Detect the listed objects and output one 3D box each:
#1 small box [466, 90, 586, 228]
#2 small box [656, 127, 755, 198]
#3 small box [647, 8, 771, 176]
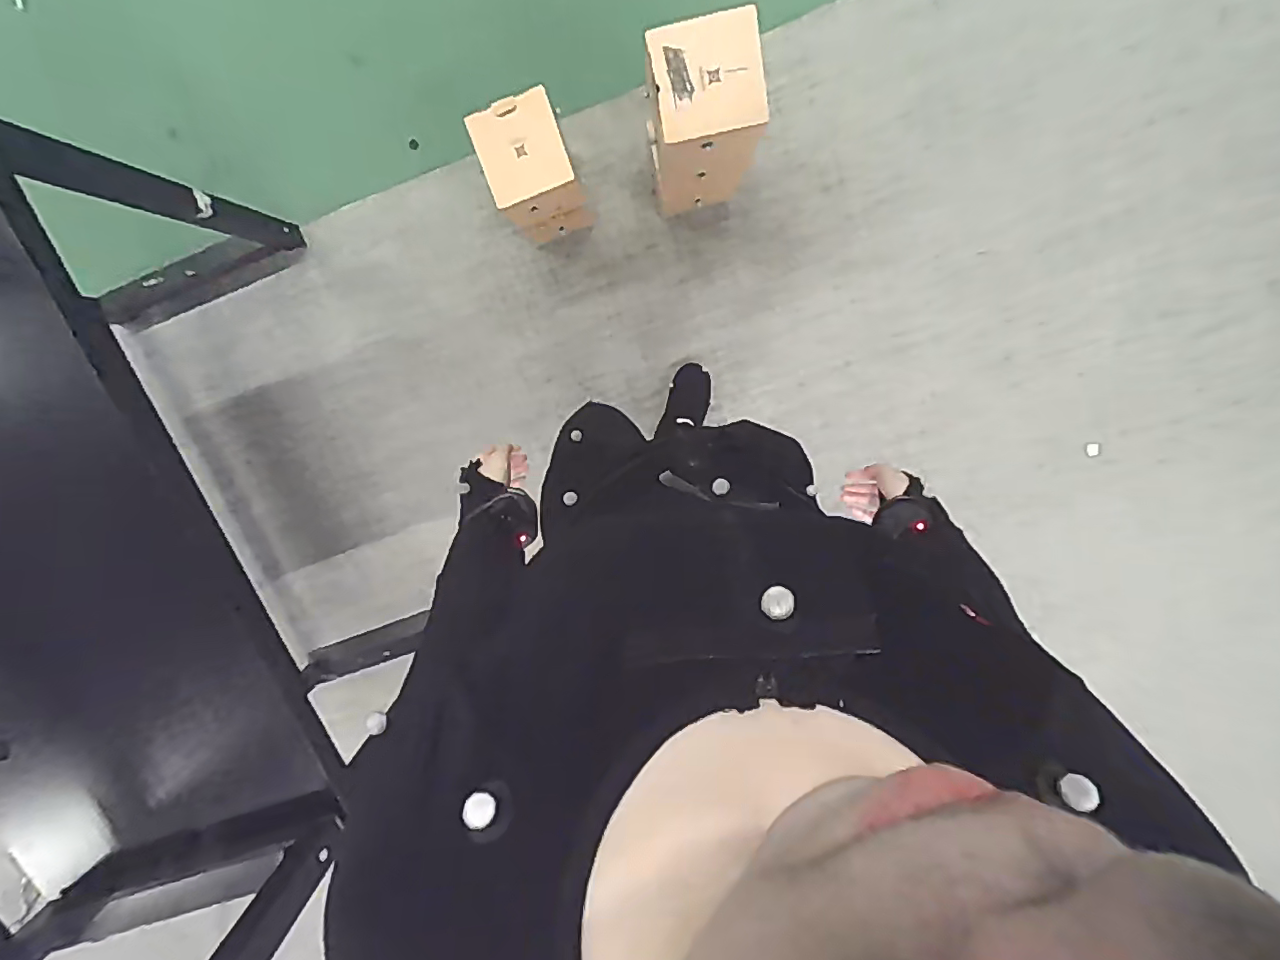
[{"bbox_3d":[-0.221,-0.637,1.105,0.168,0.176,0.179,-19,100,7],"label":"small box"},{"bbox_3d":[0.124,-0.684,1.082,0.179,0.176,0.168,-8,104,3],"label":"small box"},{"bbox_3d":[0.113,-0.645,0.923,0.179,0.176,0.168,-10,103,4],"label":"small box"}]
